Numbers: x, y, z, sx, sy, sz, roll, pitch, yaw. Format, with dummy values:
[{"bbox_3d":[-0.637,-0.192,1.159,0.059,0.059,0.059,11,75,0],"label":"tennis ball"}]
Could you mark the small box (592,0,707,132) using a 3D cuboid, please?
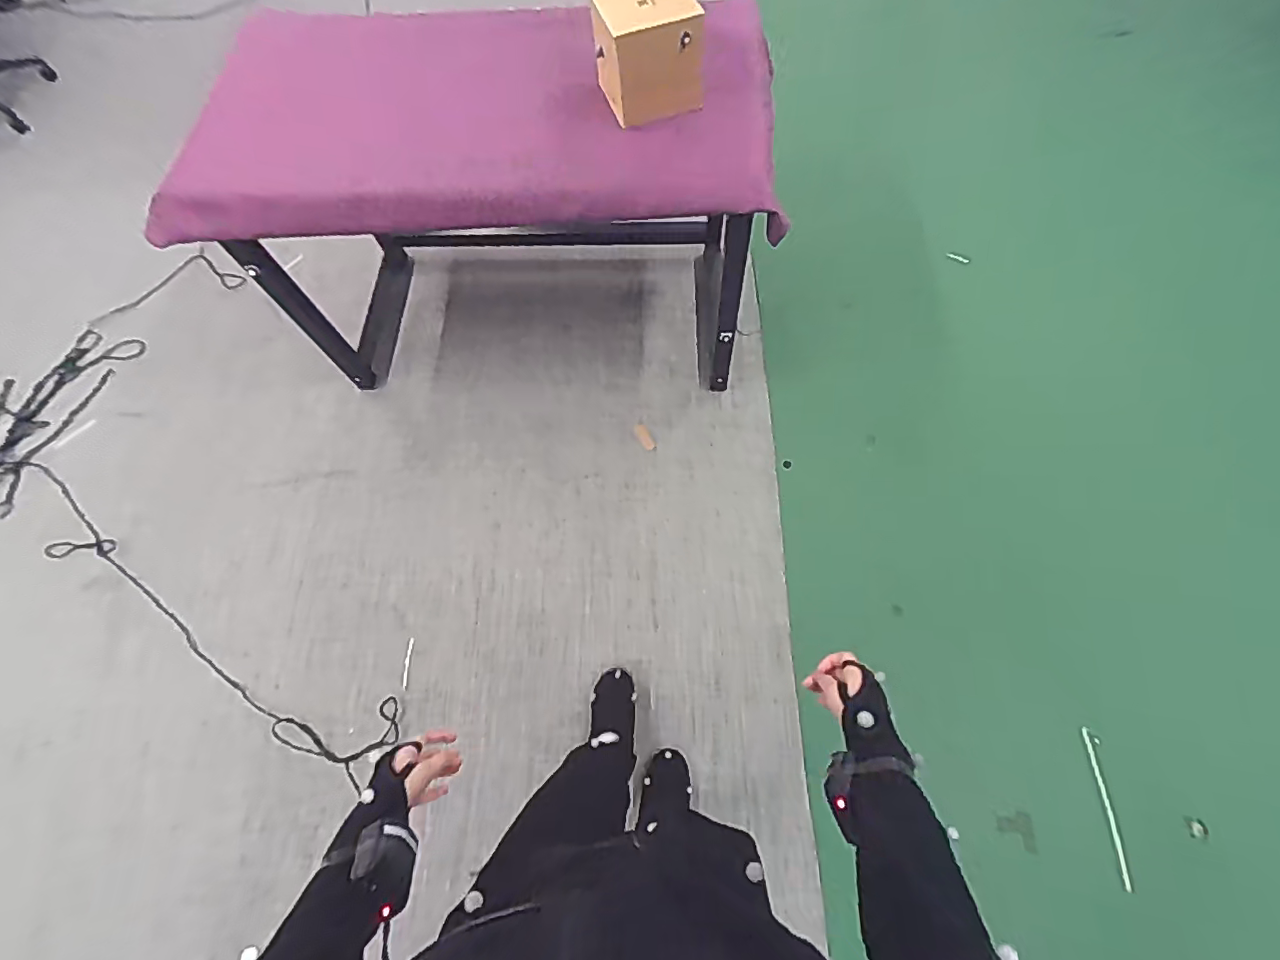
[{"bbox_3d":[0.020,-0.823,1.061,0.179,0.176,0.168,-18,66,-5],"label":"small box"}]
